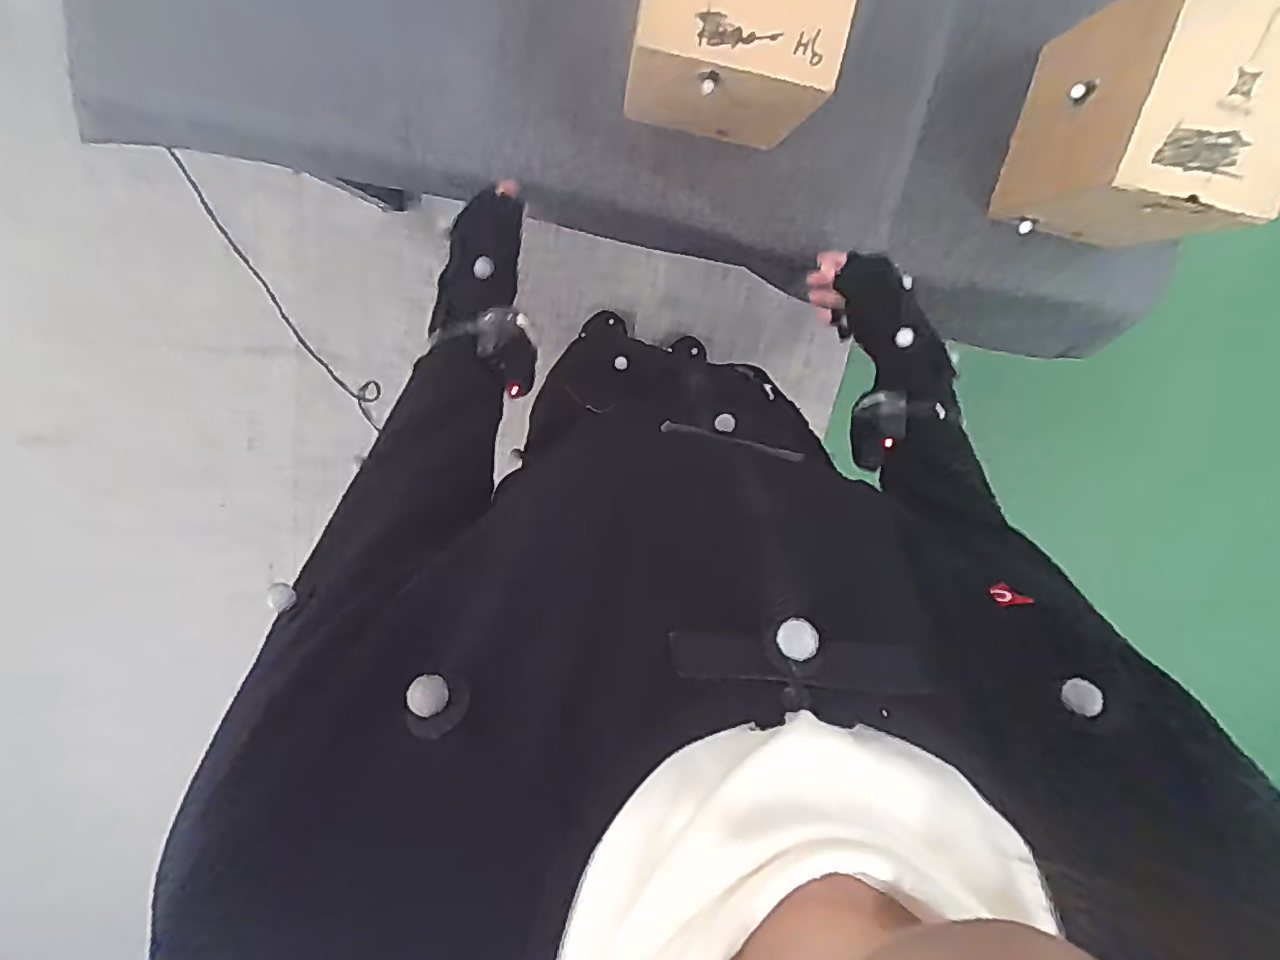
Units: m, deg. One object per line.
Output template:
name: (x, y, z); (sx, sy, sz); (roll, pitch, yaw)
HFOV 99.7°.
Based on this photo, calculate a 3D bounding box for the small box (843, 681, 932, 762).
small box: (0.773, 0.758, 1.705); (0.179, 0.176, 0.168); (7, 106, -6)

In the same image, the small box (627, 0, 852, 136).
small box: (0.084, -0.440, 0.476); (0.168, 0.176, 0.179); (8, 107, -7)

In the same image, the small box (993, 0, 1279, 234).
small box: (0.499, -0.360, 0.537); (0.168, 0.176, 0.179); (10, 106, -7)
